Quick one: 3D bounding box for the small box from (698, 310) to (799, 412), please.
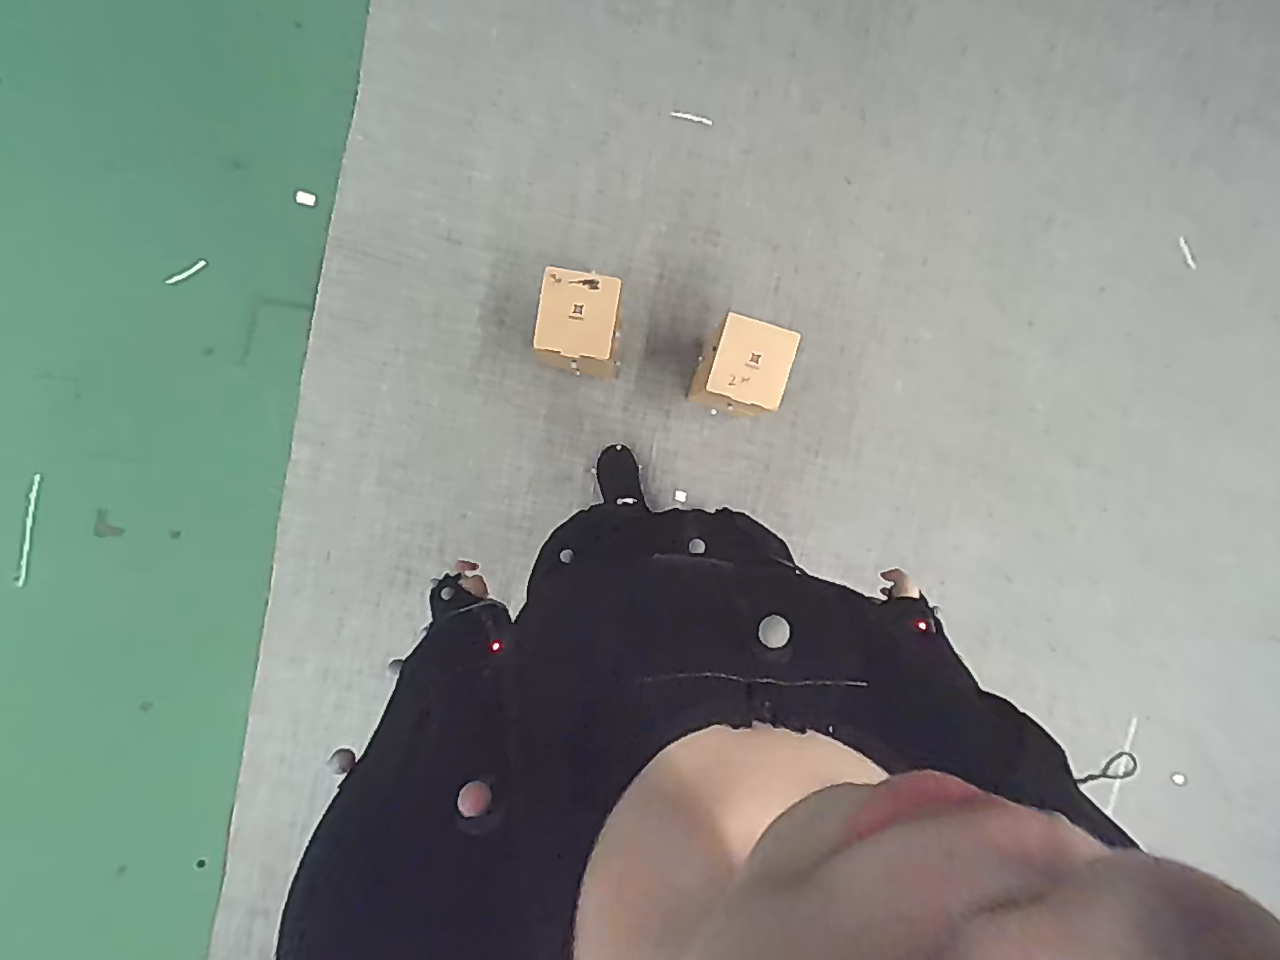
[{"bbox_3d":[0.238,-0.262,1.235,0.168,0.176,0.179,16,94,-2],"label":"small box"}]

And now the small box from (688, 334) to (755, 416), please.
[{"bbox_3d":[0.229,-0.273,1.399,0.168,0.176,0.179,18,95,-3],"label":"small box"}]

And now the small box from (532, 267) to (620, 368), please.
[{"bbox_3d":[-0.137,-0.355,1.216,0.168,0.176,0.179,9,95,-2],"label":"small box"}]
